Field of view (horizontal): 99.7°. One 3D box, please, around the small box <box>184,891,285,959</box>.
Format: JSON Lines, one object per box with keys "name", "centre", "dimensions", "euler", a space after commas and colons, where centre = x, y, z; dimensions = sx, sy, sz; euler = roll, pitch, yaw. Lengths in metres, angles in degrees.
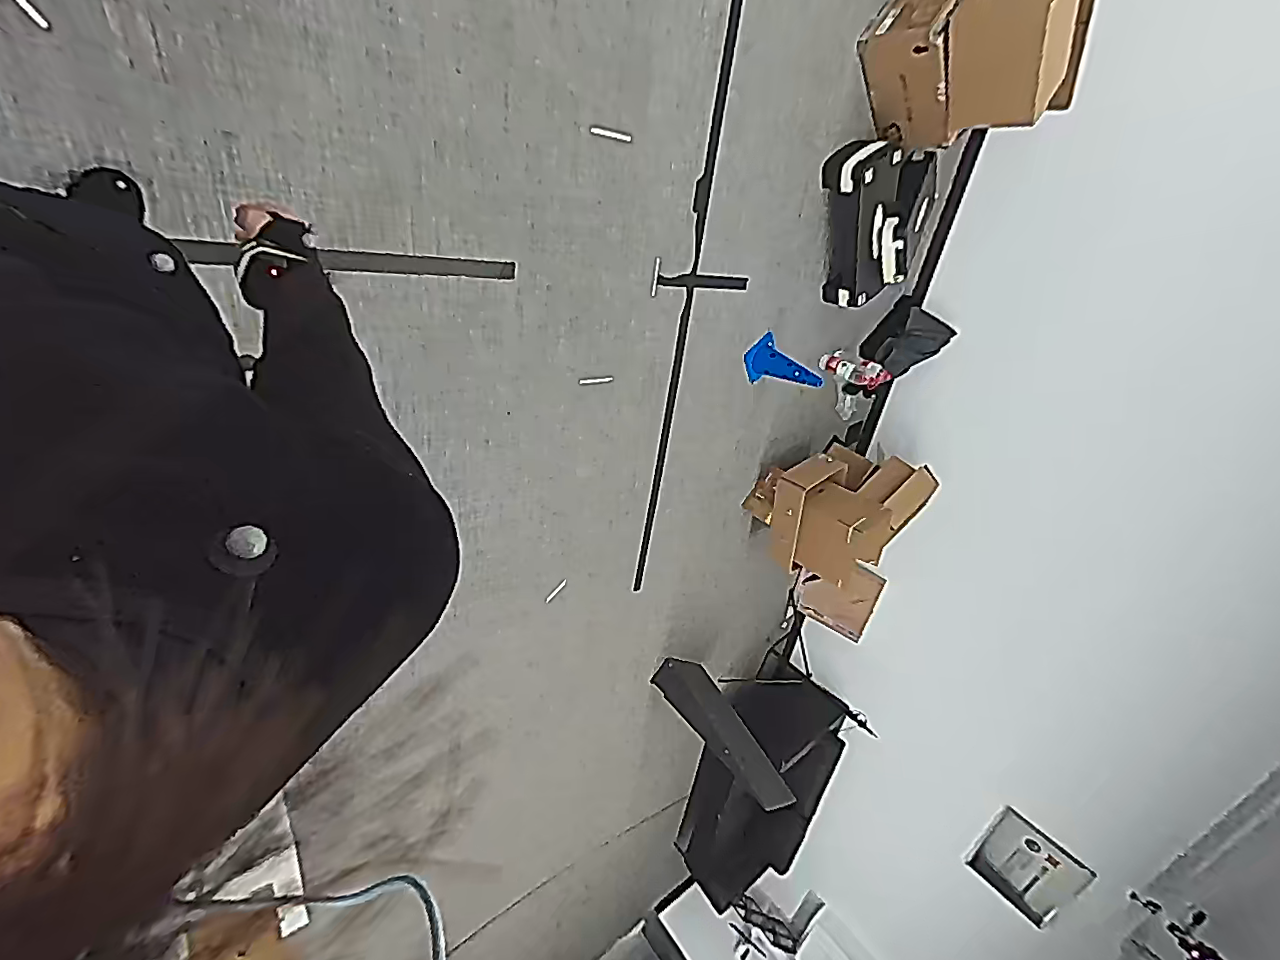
{"name": "small box", "centre": [-0.976, 1.157, 1.308], "dimensions": [0.179, 0.176, 0.168], "euler": [-10, 122, -39]}
